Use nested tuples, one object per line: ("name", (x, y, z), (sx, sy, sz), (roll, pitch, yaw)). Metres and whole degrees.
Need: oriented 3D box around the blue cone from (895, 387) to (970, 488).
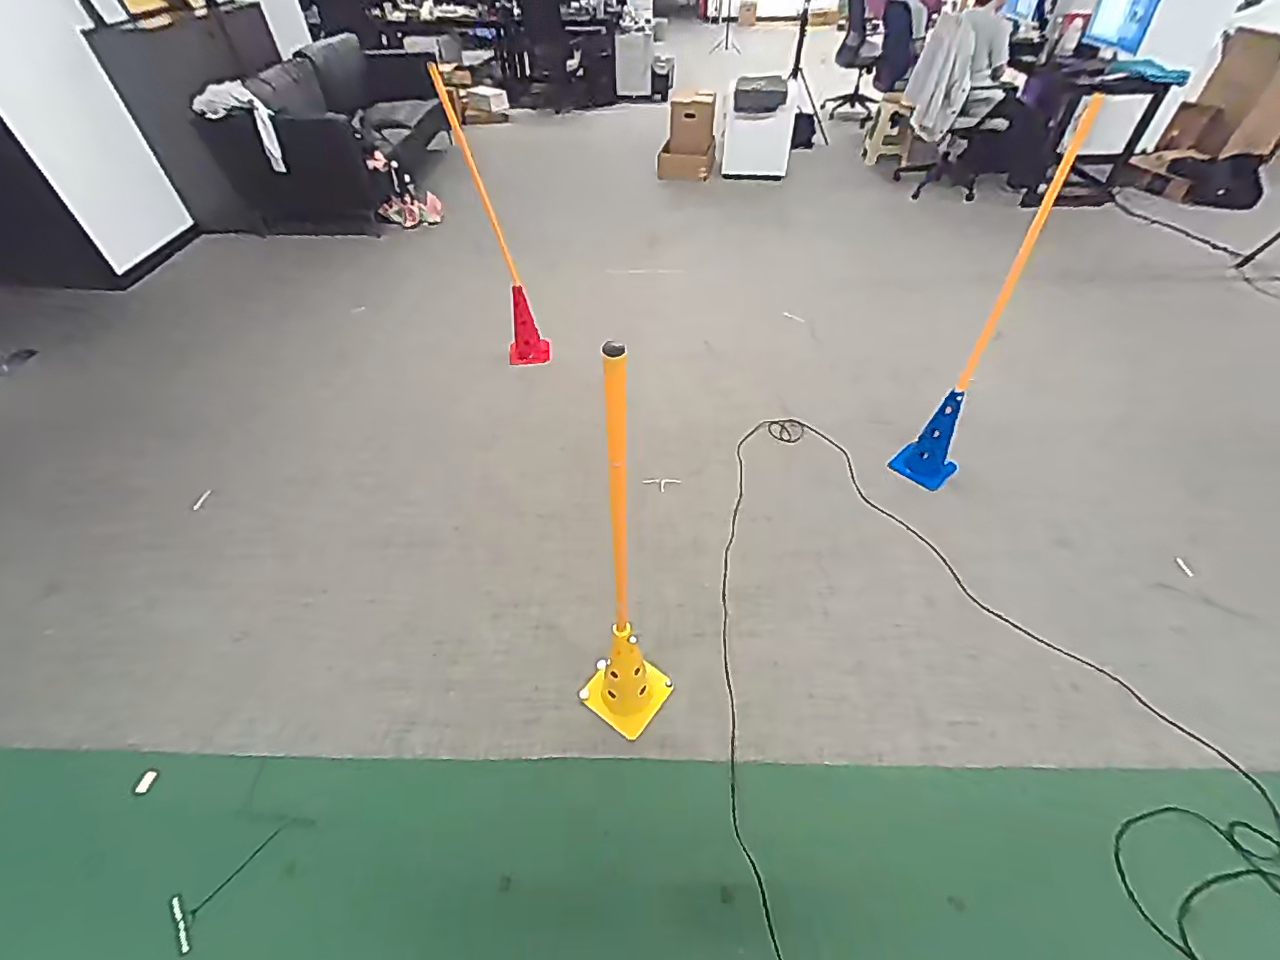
("blue cone", (1.103, -0.176, 1.979), (0.193, 0.380, 0.192), (-34, 53, -31))
